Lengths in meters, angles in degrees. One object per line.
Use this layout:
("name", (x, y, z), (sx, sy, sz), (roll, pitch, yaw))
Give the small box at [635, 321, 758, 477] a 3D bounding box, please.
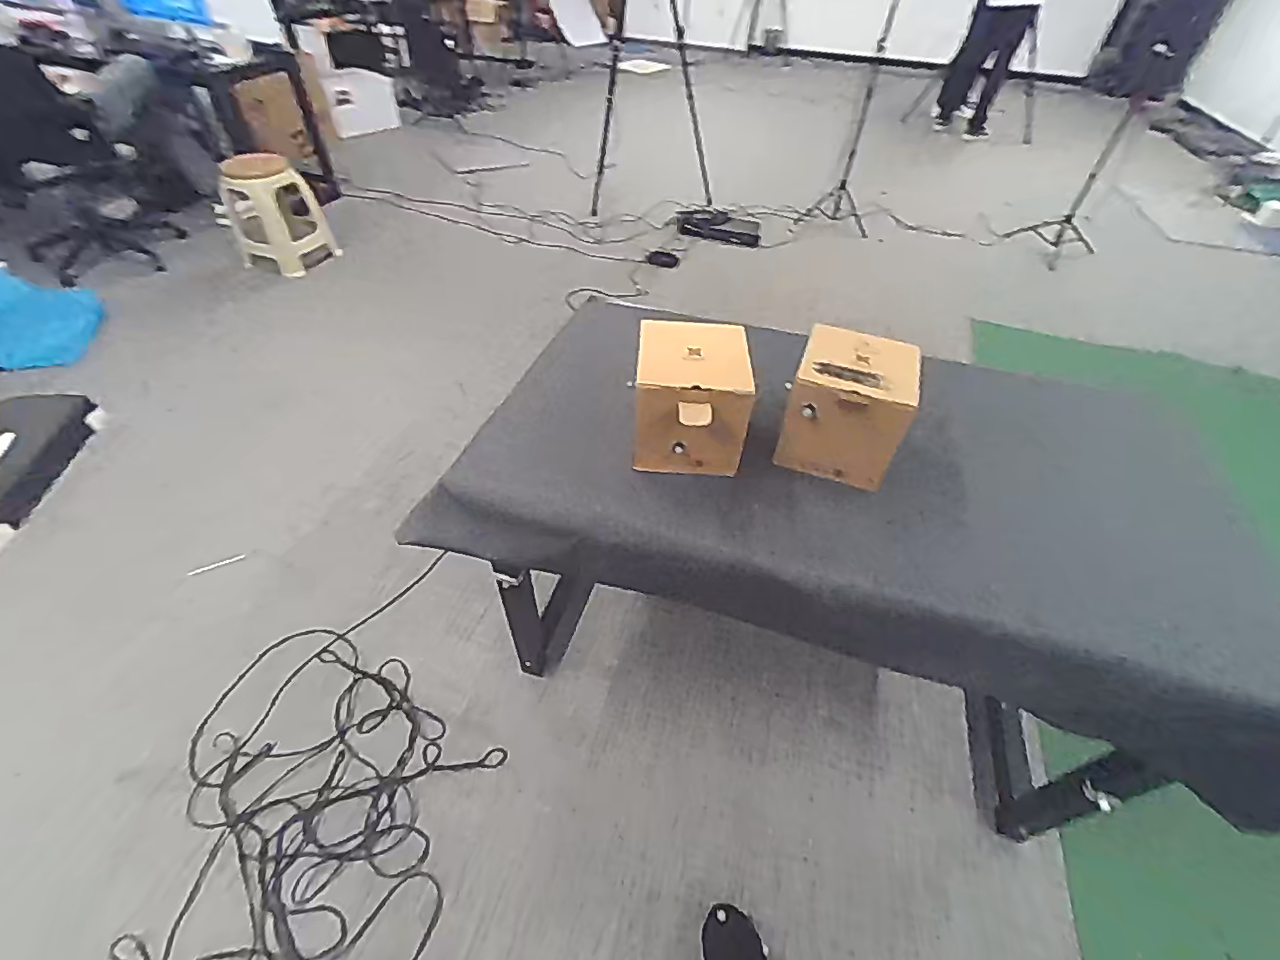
("small box", (0.081, -0.128, 0.858), (0.168, 0.176, 0.179), (4, 46, -1))
